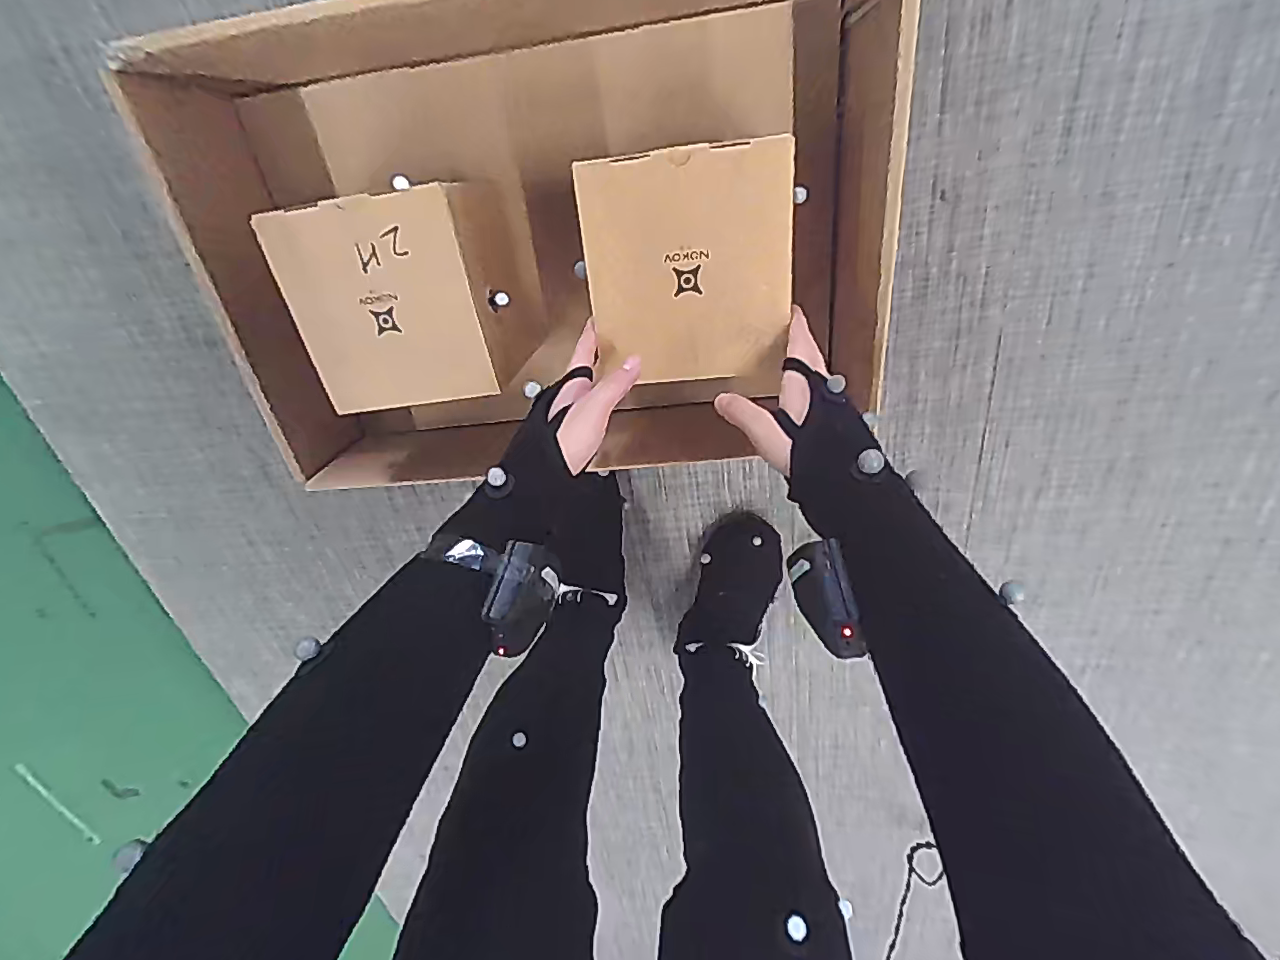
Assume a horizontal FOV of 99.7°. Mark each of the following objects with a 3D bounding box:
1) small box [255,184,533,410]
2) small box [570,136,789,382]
[{"bbox_3d":[-0.217,-0.187,0.537,0.168,0.176,0.179,-6,117,6],"label":"small box"},{"bbox_3d":[0.043,-0.201,0.505,0.168,0.176,0.179,-2,114,7],"label":"small box"}]
